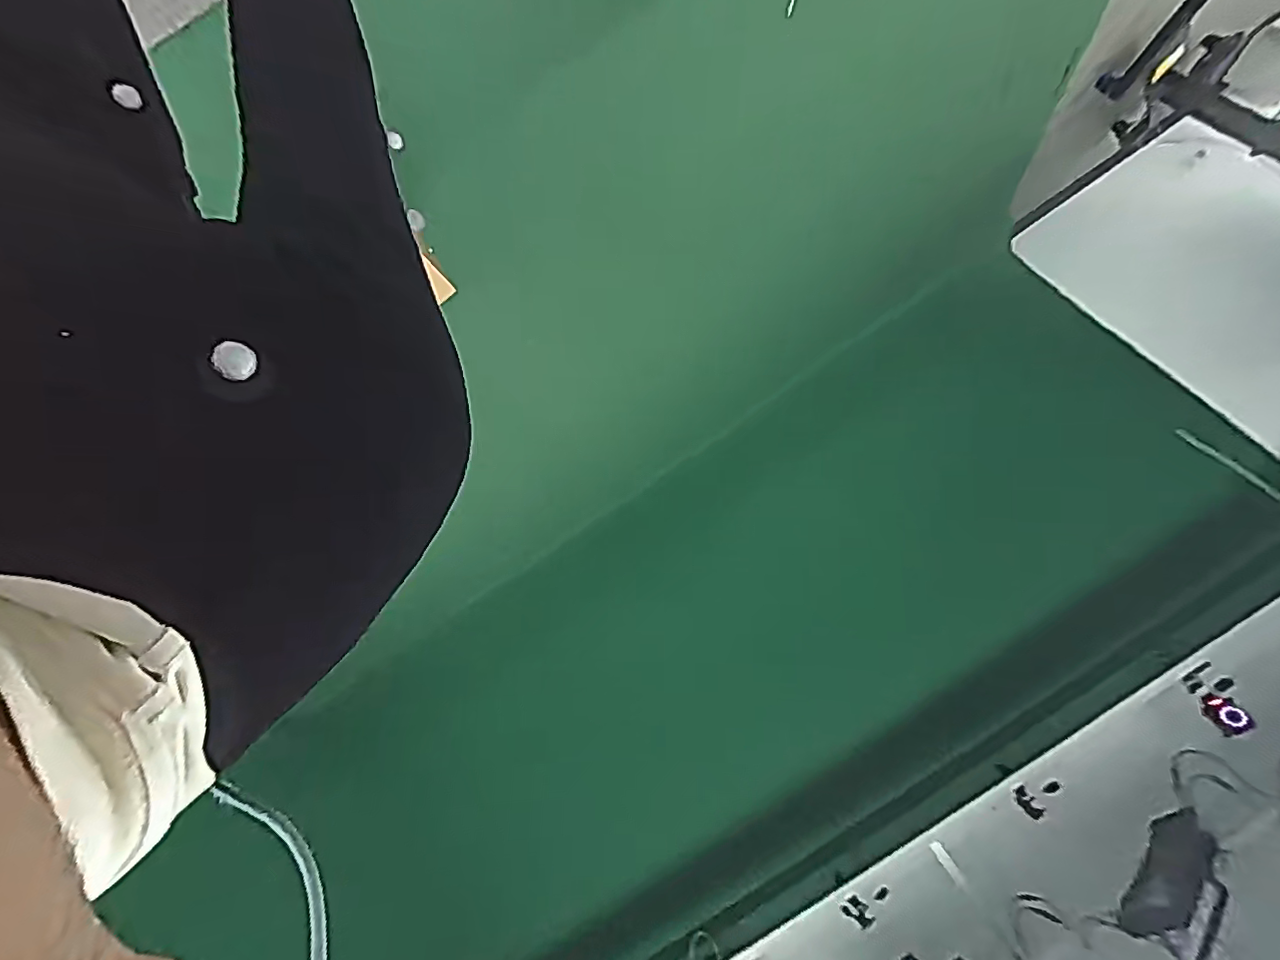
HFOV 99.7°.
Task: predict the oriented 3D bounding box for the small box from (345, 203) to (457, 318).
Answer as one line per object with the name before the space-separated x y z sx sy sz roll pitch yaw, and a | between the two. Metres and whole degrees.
small box | -0.609 -0.559 1.376 0.179 0.176 0.168 -35 157 3
